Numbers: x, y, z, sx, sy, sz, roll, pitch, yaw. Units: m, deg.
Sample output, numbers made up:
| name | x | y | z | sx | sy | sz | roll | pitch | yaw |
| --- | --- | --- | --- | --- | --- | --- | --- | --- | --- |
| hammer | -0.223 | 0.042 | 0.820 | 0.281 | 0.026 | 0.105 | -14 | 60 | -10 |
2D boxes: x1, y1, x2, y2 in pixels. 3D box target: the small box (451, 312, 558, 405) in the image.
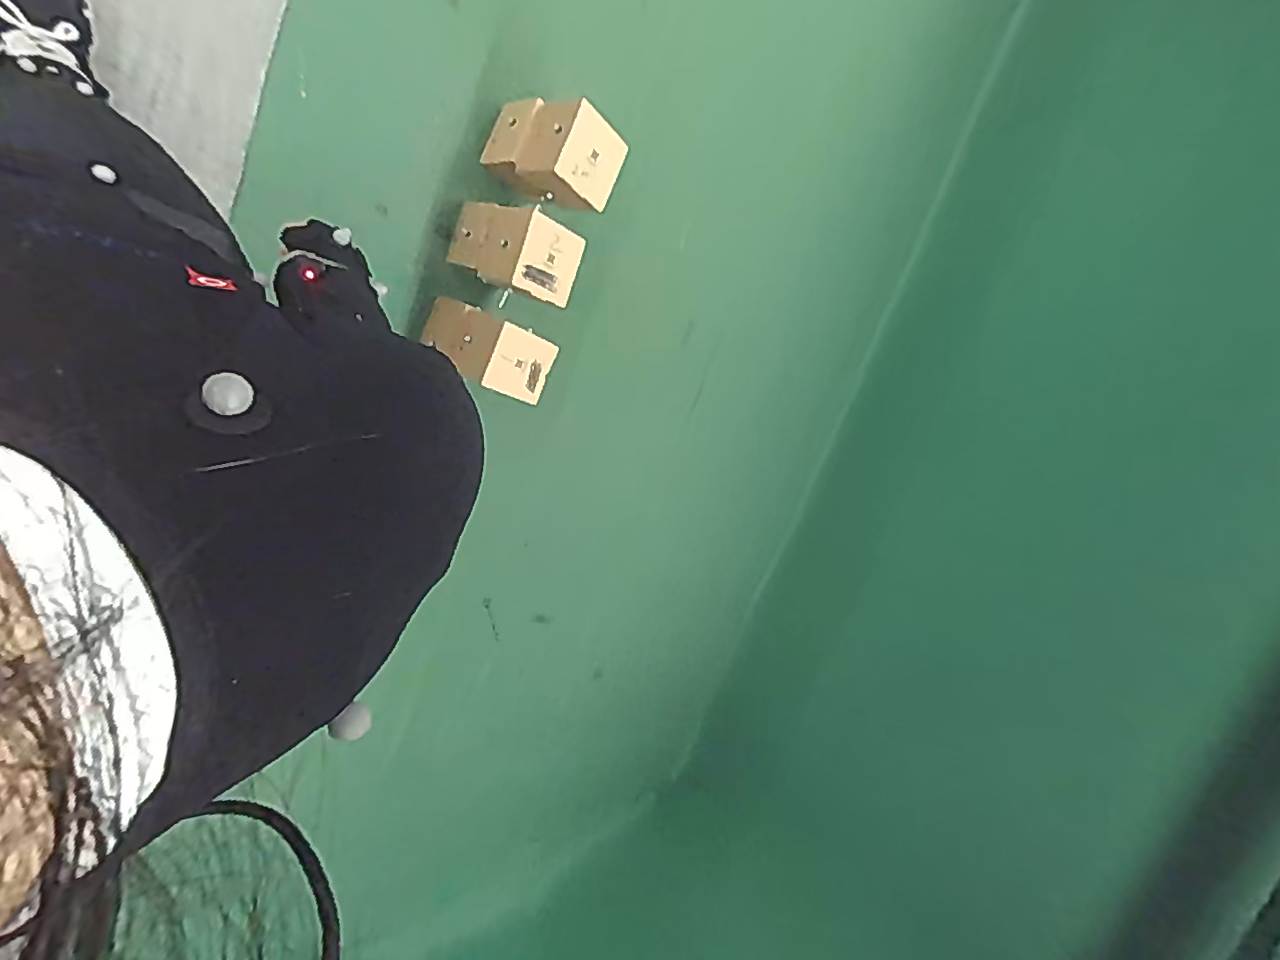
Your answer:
| name | x | y | z | sx | sy | sz | roll | pitch | yaw |
| --- | --- | --- | --- | --- | --- | --- | --- | --- | --- |
| small box | -0.350 | -0.315 | 1.390 | 0.179 | 0.176 | 0.168 | 16 | 99 | -50 |

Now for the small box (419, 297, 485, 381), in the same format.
| name | x | y | z | sx | sy | sz | roll | pitch | yaw |
| --- | --- | --- | --- | --- | --- | --- | --- | --- | --- |
| small box | -0.477 | -0.377 | 1.476 | 0.168 | 0.176 | 0.179 | 19 | 96 | -50 |

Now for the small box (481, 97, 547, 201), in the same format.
| name | x | y | z | sx | sy | sz | roll | pitch | yaw |
| --- | --- | --- | --- | --- | --- | --- | --- | --- | --- |
| small box | -0.284 | -0.854 | 1.415 | 0.179 | 0.176 | 0.168 | 22 | 94 | -50 |

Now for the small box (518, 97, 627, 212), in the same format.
| name | x | y | z | sx | sy | sz | roll | pitch | yaw |
| --- | --- | --- | --- | --- | --- | --- | --- | --- | --- |
| small box | -0.169 | -0.785 | 1.318 | 0.168 | 0.176 | 0.179 | 20 | 95 | -50 |
